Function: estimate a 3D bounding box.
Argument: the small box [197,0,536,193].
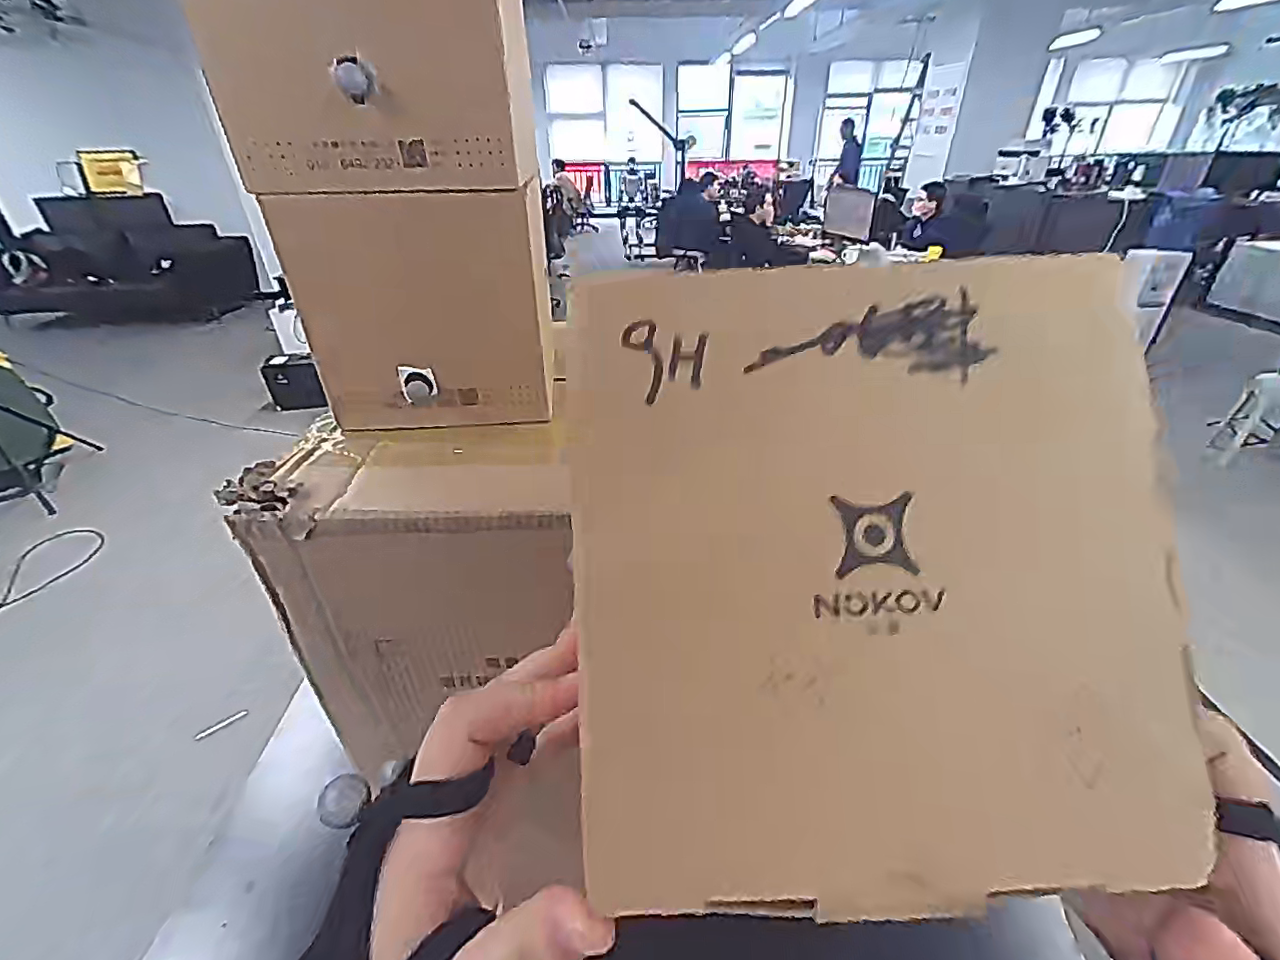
[{"bbox_3d":[-0.164,-0.292,0.358,0.168,0.176,0.179,-4,33,-4],"label":"small box"}]

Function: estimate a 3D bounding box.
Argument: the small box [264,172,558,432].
[{"bbox_3d":[-0.160,-0.154,0.449,0.168,0.176,0.179,-5,34,-6],"label":"small box"}]

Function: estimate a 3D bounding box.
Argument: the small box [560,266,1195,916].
[{"bbox_3d":[0.061,0.034,0.229,0.168,0.179,0.176,-2,-6,0],"label":"small box"}]
